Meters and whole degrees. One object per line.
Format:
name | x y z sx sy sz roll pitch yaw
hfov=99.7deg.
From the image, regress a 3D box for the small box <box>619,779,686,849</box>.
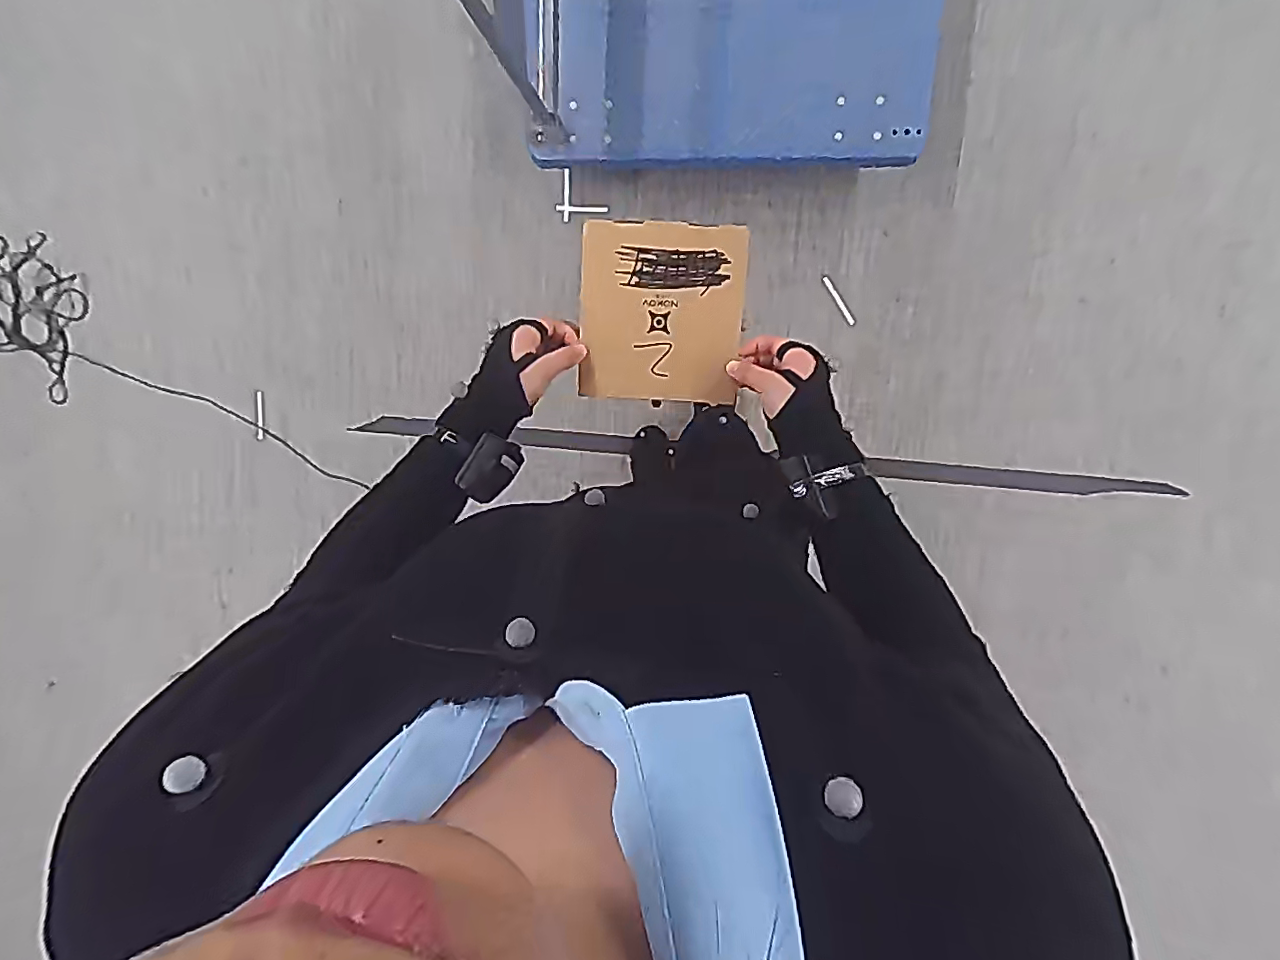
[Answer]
small box | 0.041 0.988 1.539 0.168 0.176 0.179 -7 97 5
